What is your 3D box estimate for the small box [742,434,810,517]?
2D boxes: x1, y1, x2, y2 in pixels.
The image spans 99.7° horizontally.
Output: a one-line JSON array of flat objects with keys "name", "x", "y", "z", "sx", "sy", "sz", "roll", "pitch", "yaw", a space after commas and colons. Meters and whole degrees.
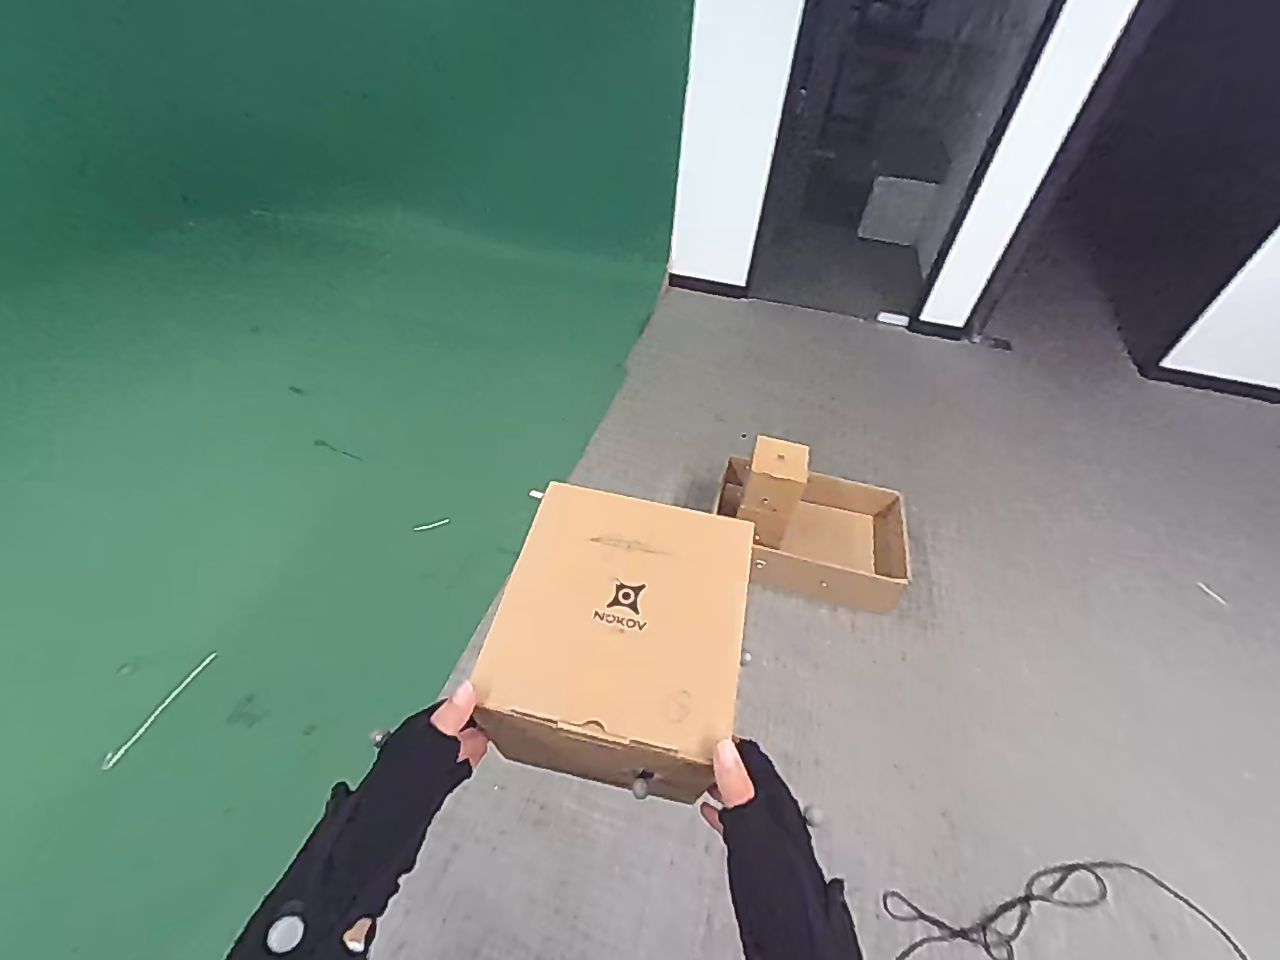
[{"name": "small box", "x": 0.429, "y": -0.014, "z": 1.709, "sx": 0.168, "sy": 0.176, "sz": 0.179, "roll": 14, "pitch": 46, "yaw": 8}]

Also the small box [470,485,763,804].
[{"name": "small box", "x": -0.009, "y": 0.135, "z": 0.430, "sx": 0.168, "sy": 0.176, "sz": 0.179, "roll": 13, "pitch": 52, "yaw": 6}]

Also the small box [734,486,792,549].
[{"name": "small box", "x": 0.416, "y": 0.102, "z": 1.823, "sx": 0.168, "sy": 0.176, "sz": 0.179, "roll": 15, "pitch": 45, "yaw": 9}]
